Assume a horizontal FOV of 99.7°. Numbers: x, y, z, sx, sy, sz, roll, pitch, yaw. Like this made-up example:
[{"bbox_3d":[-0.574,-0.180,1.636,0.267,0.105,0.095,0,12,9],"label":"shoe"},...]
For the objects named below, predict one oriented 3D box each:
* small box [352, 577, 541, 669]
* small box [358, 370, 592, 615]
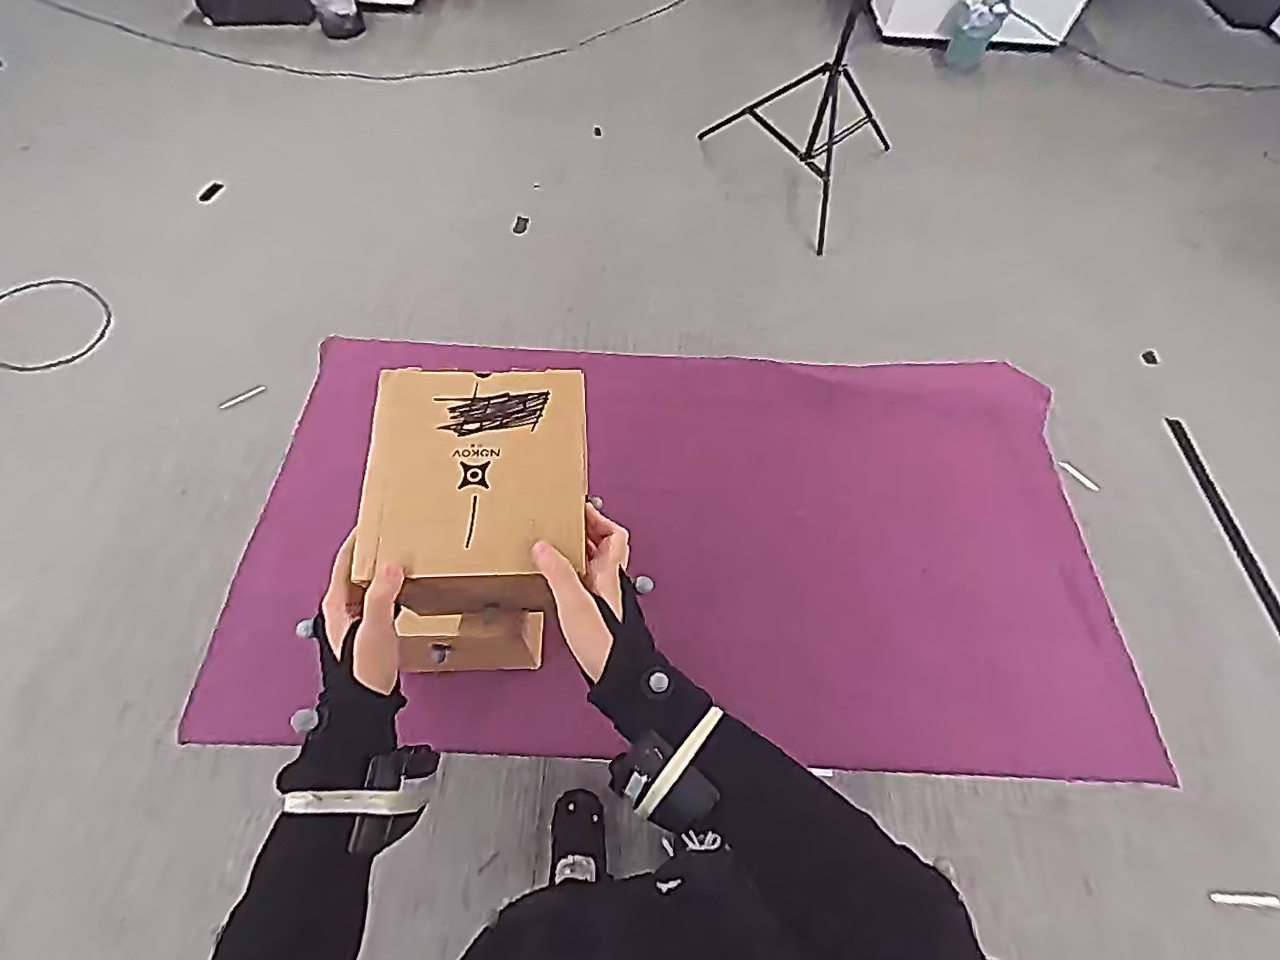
[{"bbox_3d":[-0.213,0.132,0.663,0.179,0.176,0.168,-1,60,-3],"label":"small box"},{"bbox_3d":[-0.128,0.020,0.492,0.168,0.176,0.179,-1,68,-5],"label":"small box"}]
